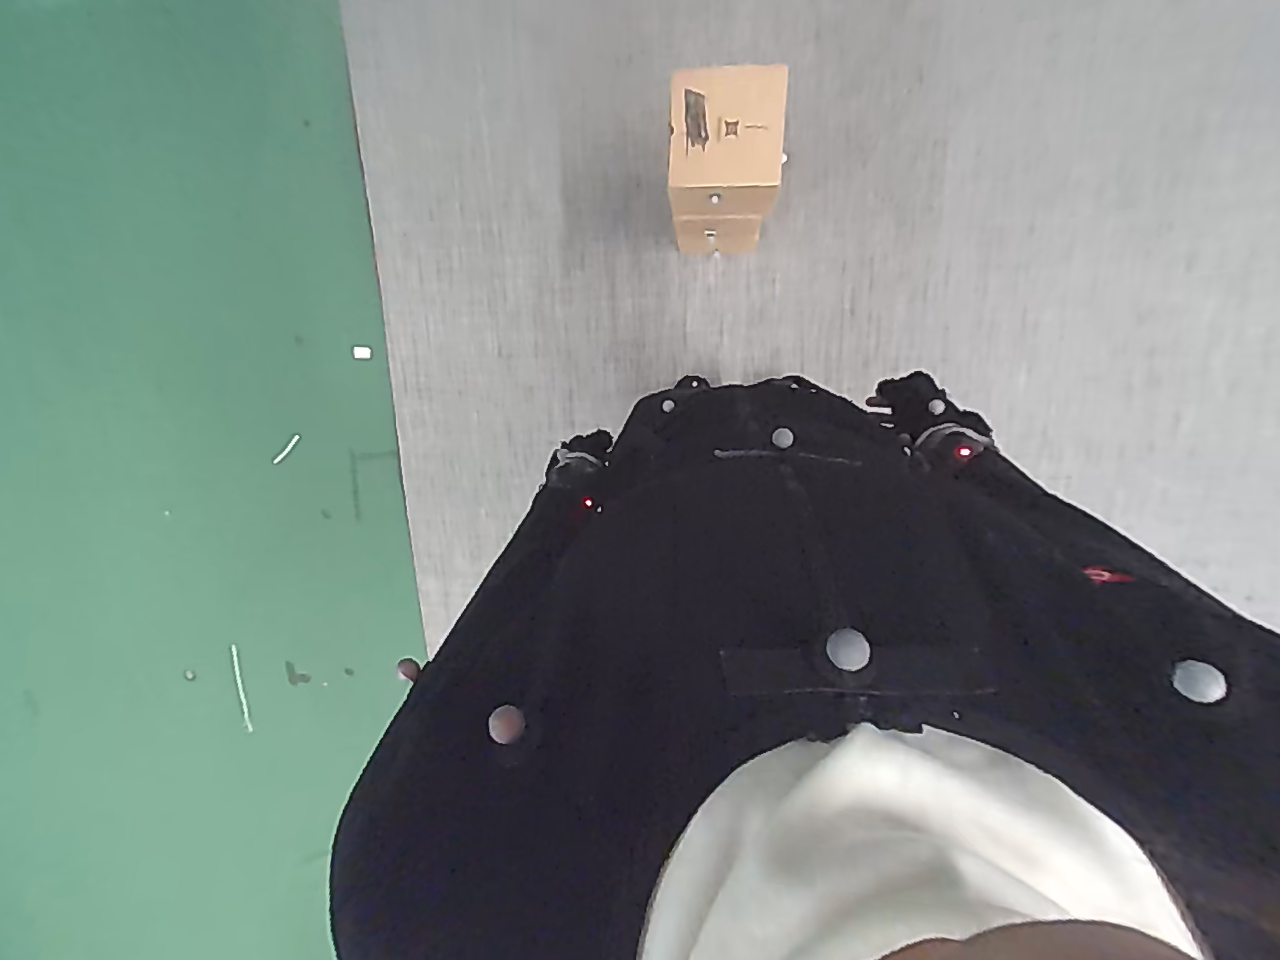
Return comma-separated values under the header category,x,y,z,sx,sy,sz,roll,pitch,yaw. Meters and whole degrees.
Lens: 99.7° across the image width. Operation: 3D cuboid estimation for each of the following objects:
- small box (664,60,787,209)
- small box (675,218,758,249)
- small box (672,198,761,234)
category,x,y,z,sx,sy,sz,roll,pitch,yaw
small box,0.138,-0.559,0.898,0.179,0.176,0.168,3,103,7
small box,0.173,-0.624,1.217,0.179,0.176,0.168,3,103,6
small box,0.153,-0.594,1.058,0.168,0.176,0.179,3,104,8
